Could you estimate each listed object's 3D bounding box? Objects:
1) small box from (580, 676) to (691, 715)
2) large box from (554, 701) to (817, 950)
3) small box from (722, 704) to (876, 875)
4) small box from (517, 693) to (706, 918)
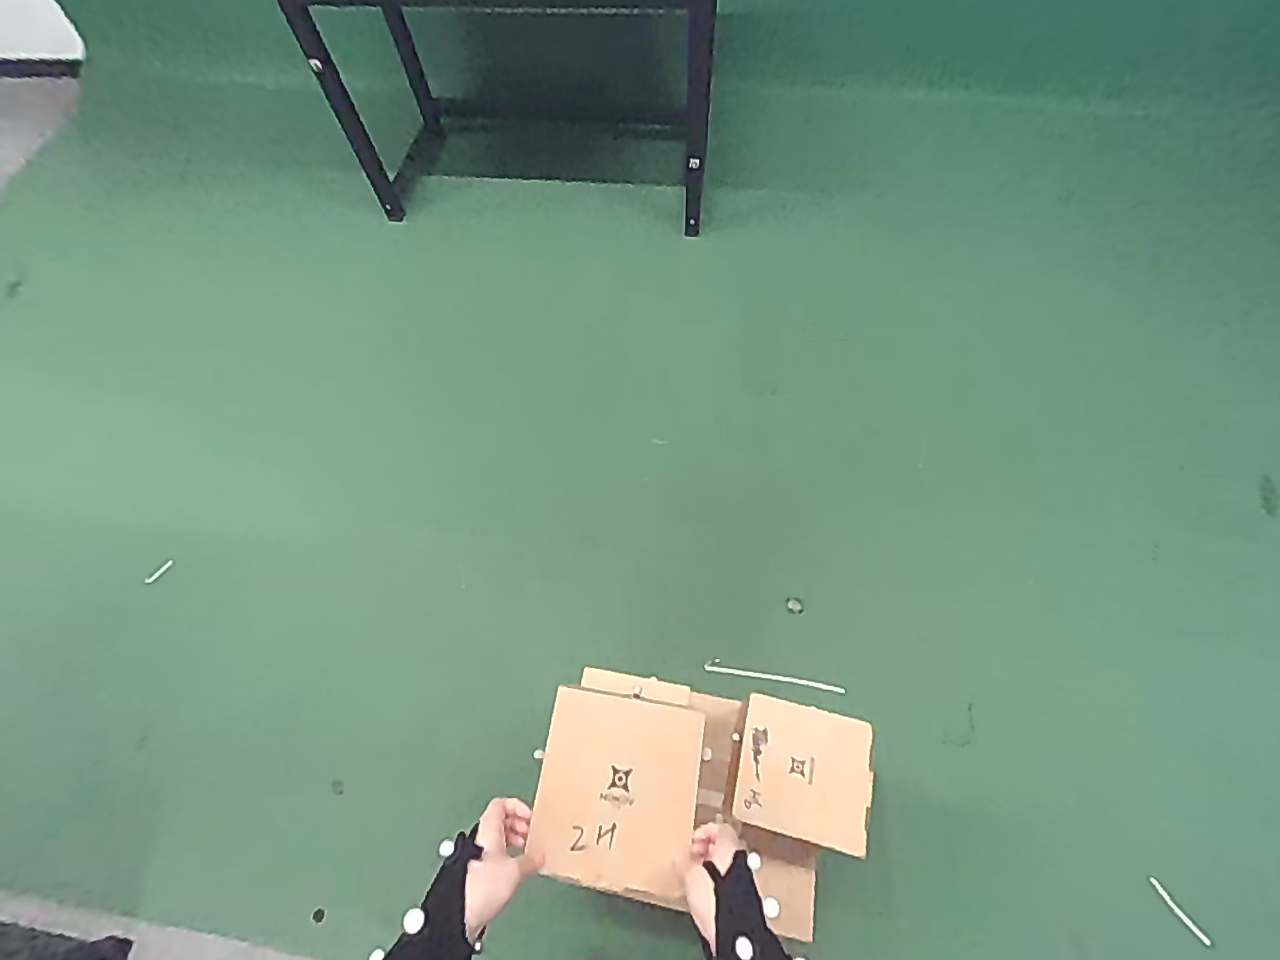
[{"bbox_3d":[-0.019,0.419,0.828,0.168,0.176,0.179,8,61,7],"label":"small box"},{"bbox_3d":[0.088,0.596,1.001,0.408,0.320,0.320,8,62,7],"label":"large box"},{"bbox_3d":[0.226,0.446,0.795,0.179,0.176,0.168,12,61,10],"label":"small box"},{"bbox_3d":[-0.026,0.349,0.617,0.168,0.176,0.179,9,69,3],"label":"small box"}]
